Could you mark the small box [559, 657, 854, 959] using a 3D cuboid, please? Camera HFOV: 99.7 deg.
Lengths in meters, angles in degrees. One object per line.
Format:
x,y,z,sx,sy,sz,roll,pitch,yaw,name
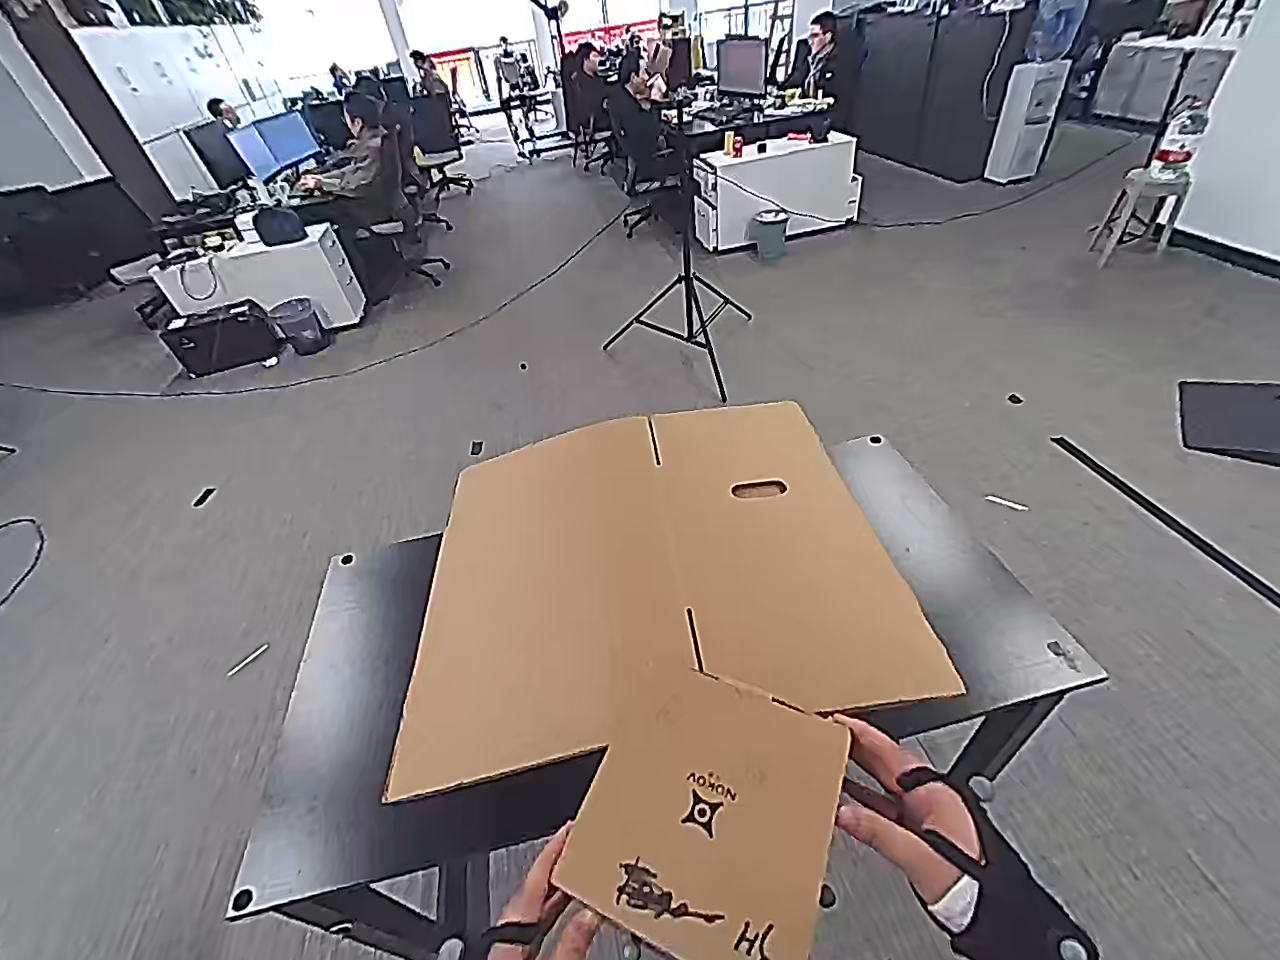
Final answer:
0.061,0.284,0.438,0.168,0.176,0.179,13,48,24,small box
